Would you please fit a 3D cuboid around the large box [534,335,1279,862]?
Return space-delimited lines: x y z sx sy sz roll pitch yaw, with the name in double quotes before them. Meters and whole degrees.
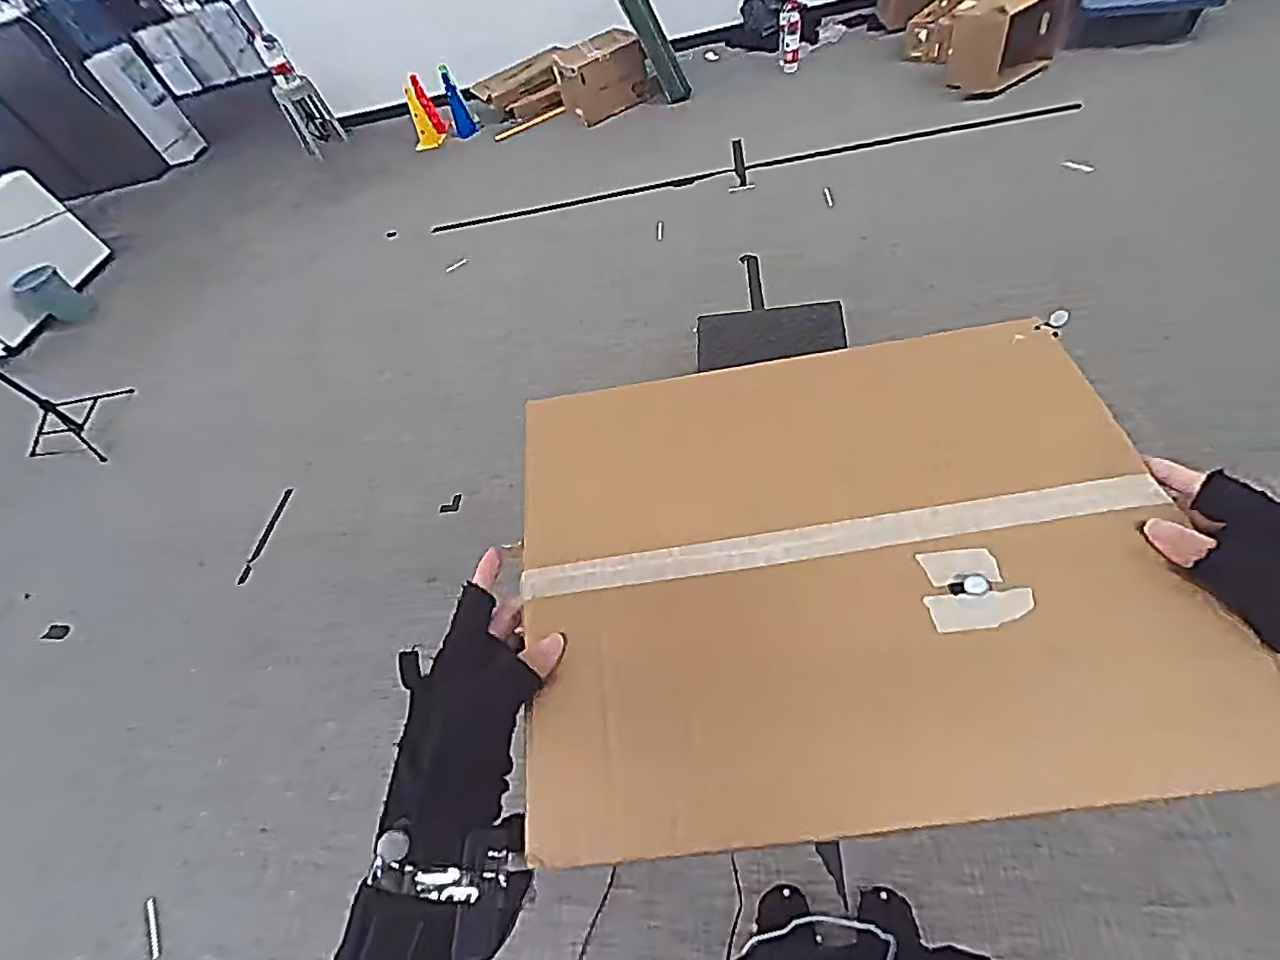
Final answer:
"large box" 0.141 0.120 0.490 0.408 0.320 0.320 -9 60 3
